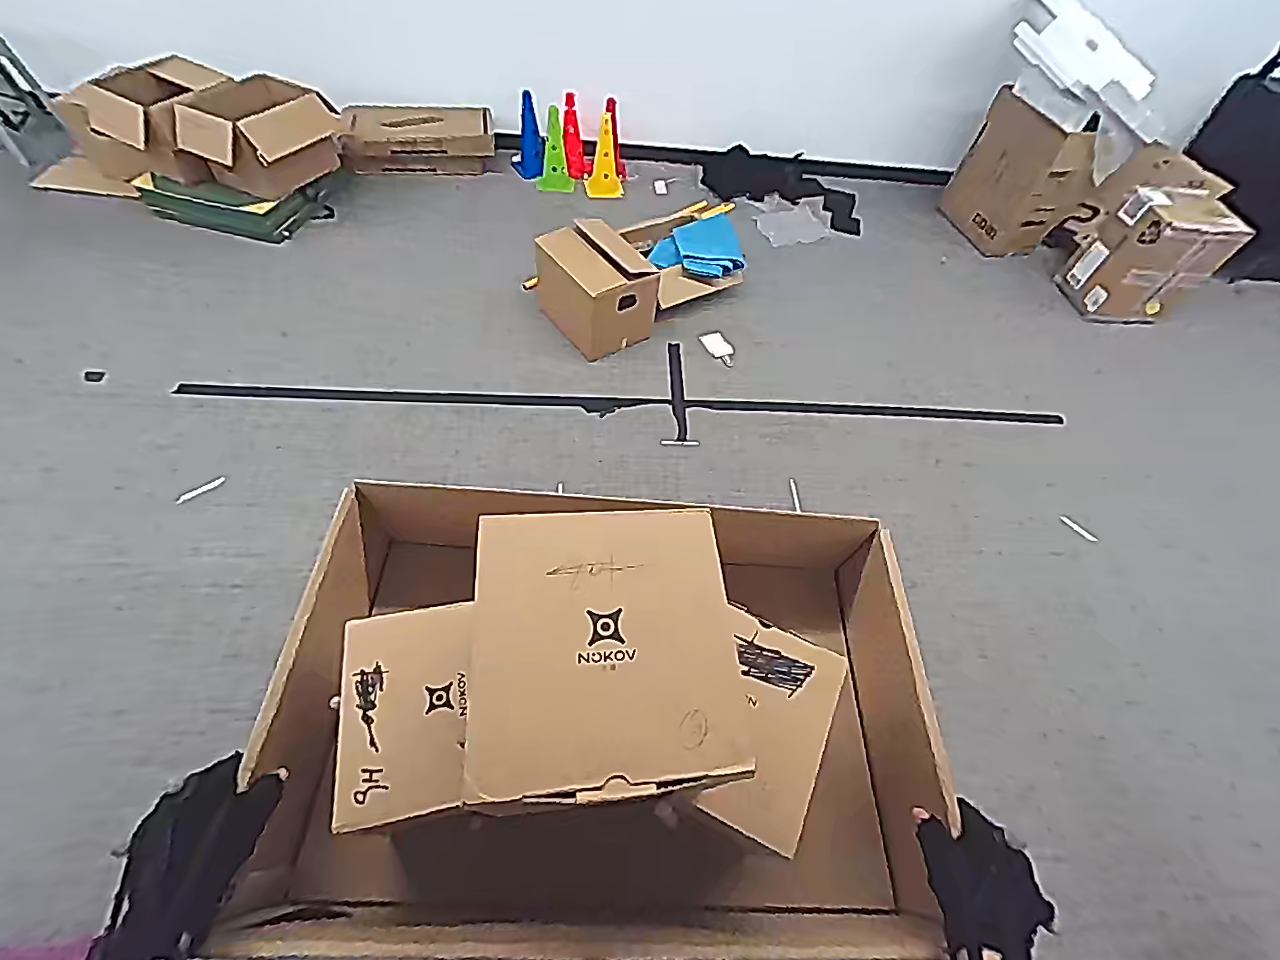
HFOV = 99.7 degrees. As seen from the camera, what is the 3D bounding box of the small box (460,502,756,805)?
[{"bbox_3d":[-0.030,0.134,0.403,0.168,0.176,0.179,-1,57,-9],"label":"small box"}]
